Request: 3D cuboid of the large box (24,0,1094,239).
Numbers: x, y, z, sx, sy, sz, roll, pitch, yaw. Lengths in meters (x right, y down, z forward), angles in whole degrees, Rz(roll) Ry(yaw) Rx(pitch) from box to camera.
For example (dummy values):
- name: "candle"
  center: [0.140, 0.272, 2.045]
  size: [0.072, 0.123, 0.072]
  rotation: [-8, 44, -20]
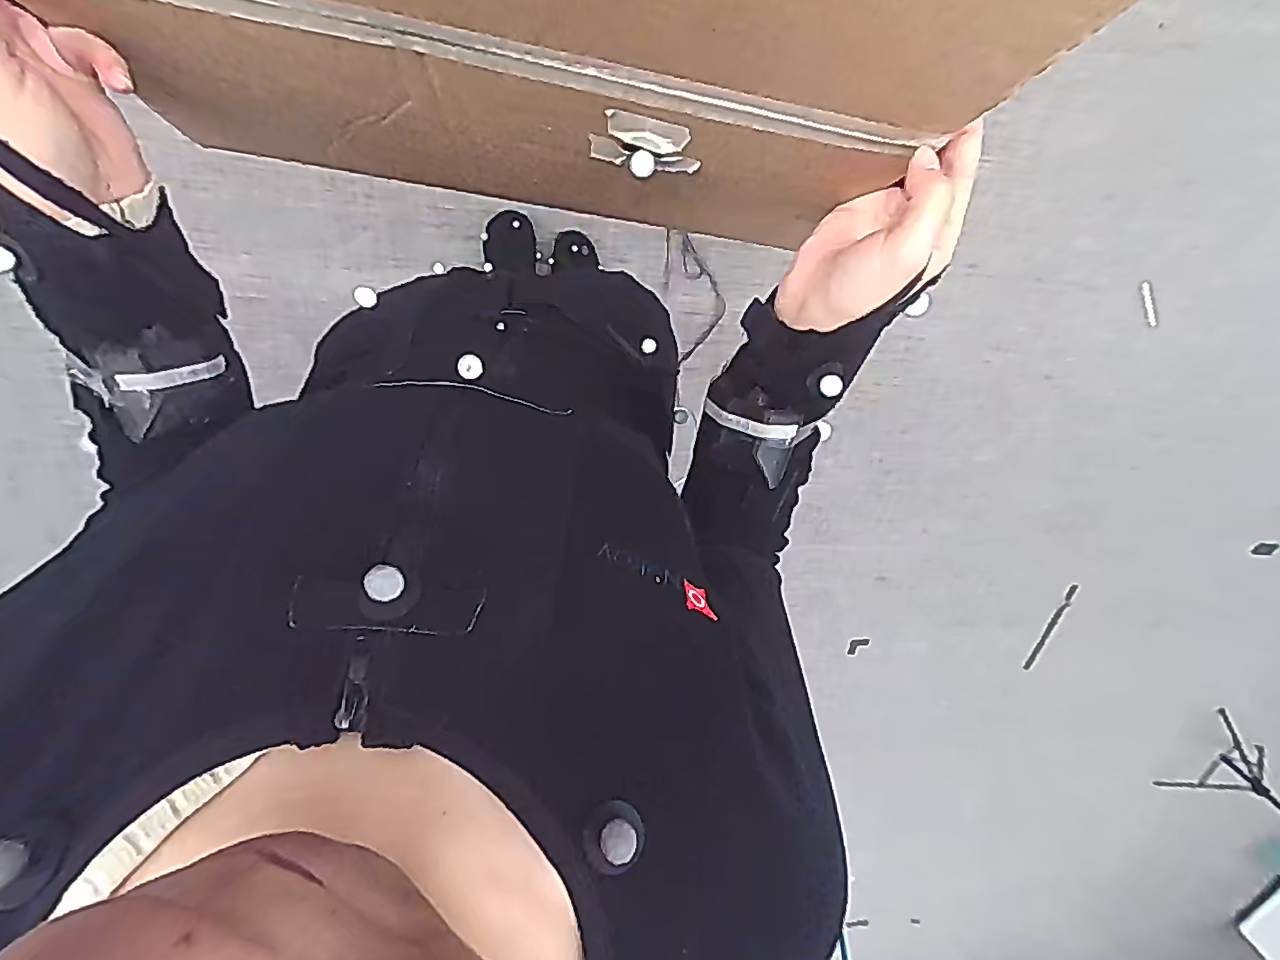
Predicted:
- name: "large box"
  center: [-0.043, -0.333, 0.217]
  size: [0.408, 0.320, 0.320]
  rotation: [5, 95, -9]
